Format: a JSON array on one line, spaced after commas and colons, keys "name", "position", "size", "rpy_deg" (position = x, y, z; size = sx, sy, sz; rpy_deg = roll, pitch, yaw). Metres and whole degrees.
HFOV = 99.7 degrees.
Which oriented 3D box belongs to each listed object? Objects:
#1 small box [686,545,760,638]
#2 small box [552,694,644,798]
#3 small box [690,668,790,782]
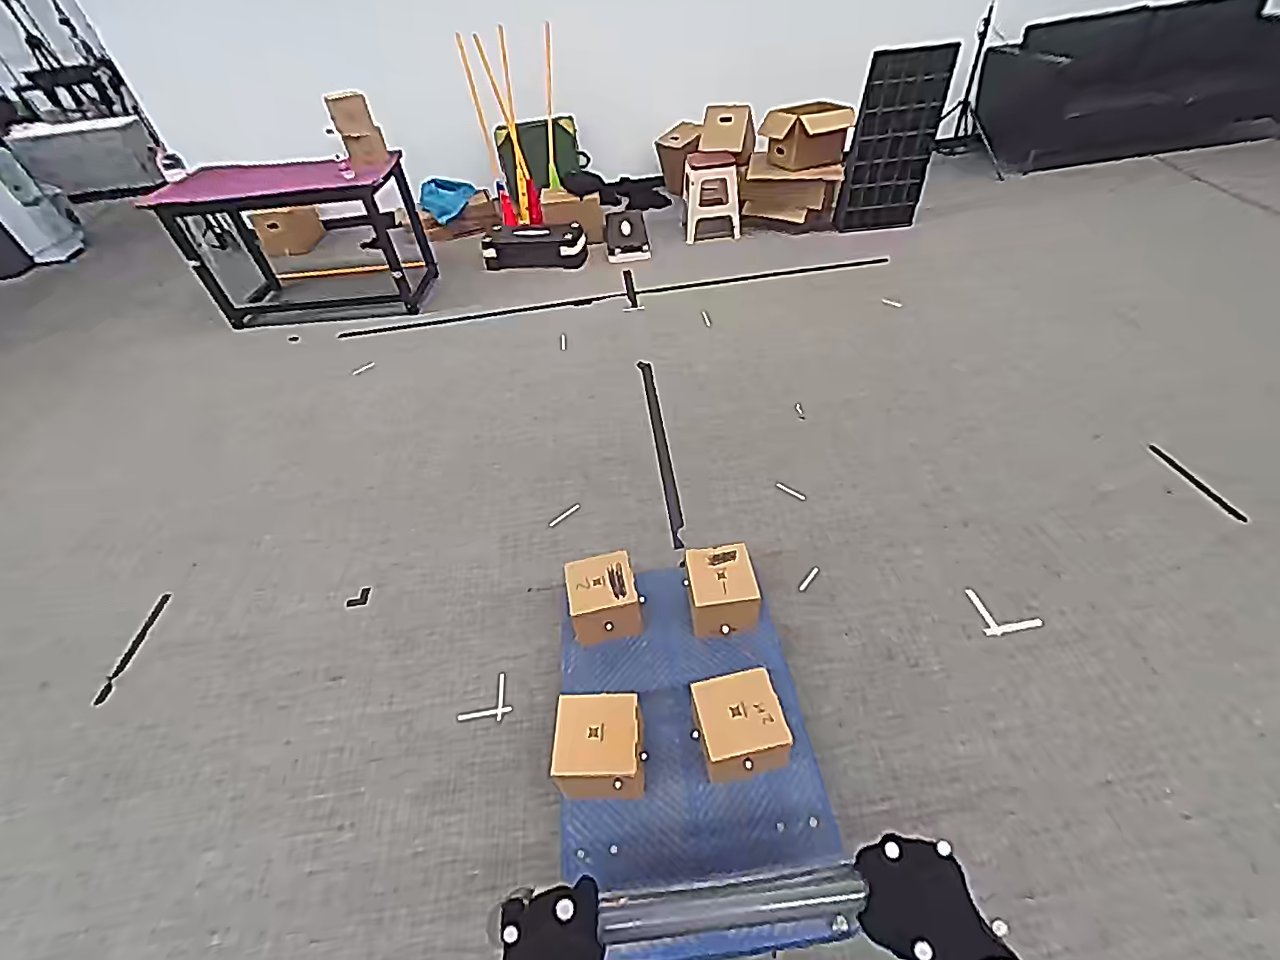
[{"name": "small box", "position": [0.215, 0.300, 1.454], "size": [0.168, 0.176, 0.179], "rpy_deg": [-8, 46, 0]}, {"name": "small box", "position": [-0.086, 0.593, 1.202], "size": [0.179, 0.176, 0.168], "rpy_deg": [-3, 45, 3]}, {"name": "small box", "position": [0.218, 0.549, 1.205], "size": [0.179, 0.176, 0.168], "rpy_deg": [-12, 45, -4]}]
